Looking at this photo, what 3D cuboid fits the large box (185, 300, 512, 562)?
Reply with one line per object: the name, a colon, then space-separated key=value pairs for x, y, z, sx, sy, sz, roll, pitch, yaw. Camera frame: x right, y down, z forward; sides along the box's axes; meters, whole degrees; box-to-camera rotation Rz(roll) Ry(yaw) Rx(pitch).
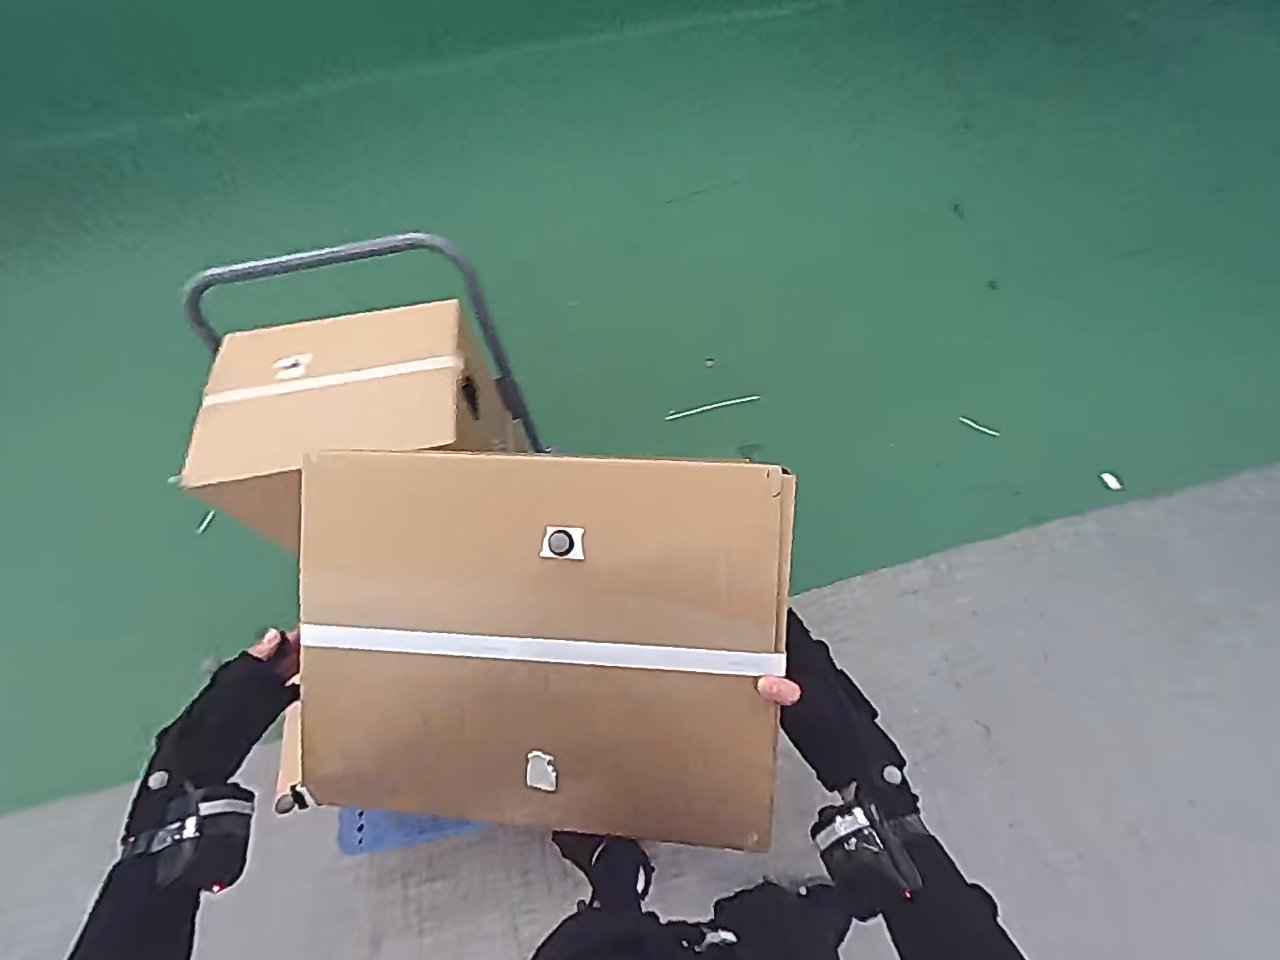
large box: x=-0.478 y=-0.074 z=0.987 sx=0.408 sy=0.320 sz=0.320 roll=-10 pitch=60 yaw=-1
